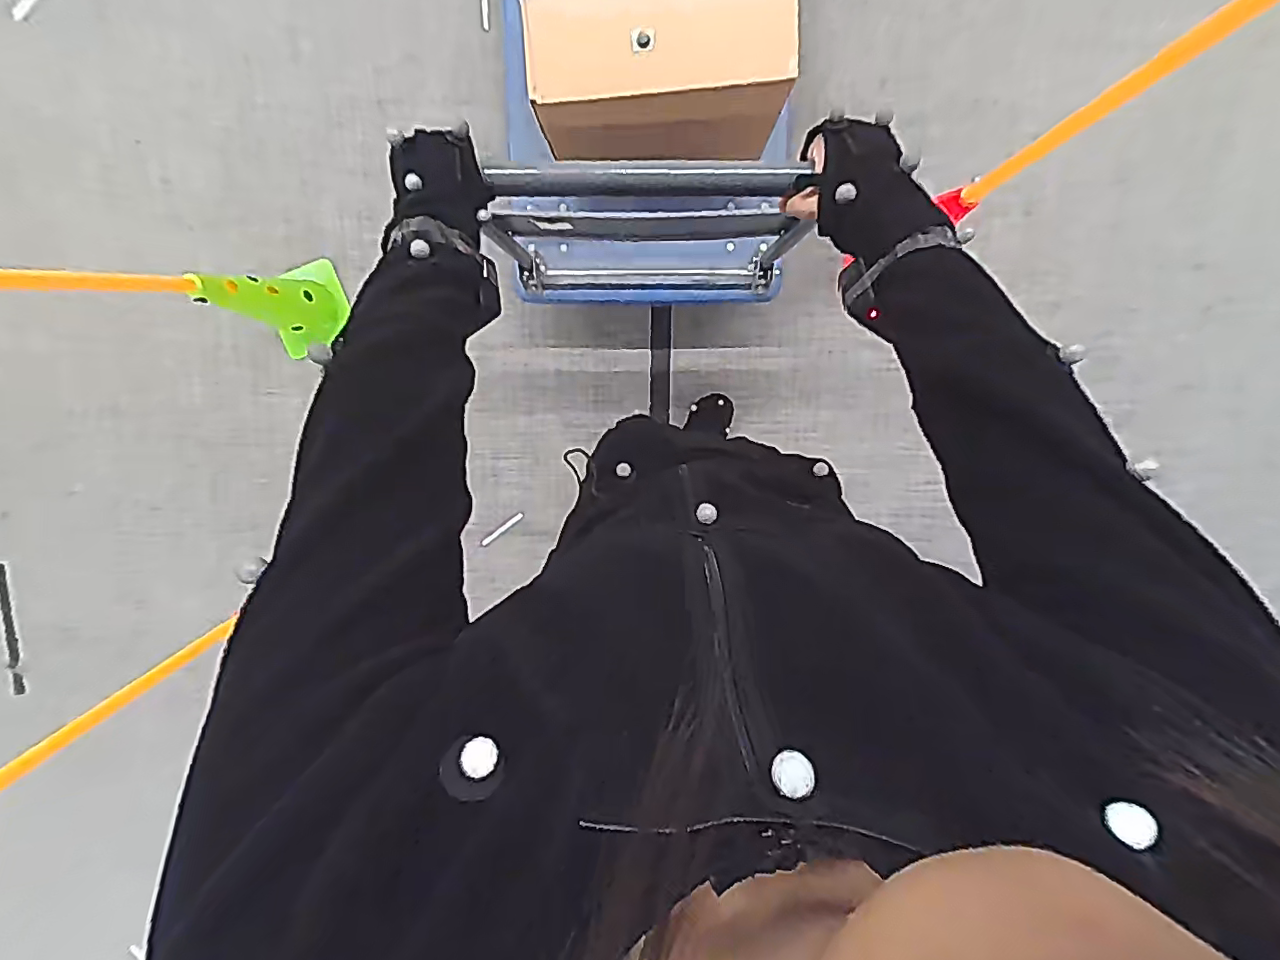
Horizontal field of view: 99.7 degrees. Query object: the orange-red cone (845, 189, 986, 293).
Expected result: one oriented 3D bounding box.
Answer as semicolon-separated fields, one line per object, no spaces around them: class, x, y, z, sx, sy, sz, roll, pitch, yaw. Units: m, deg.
orange-red cone;0.596;-0.525;1.120;0.199;0.360;0.198;7;100;0
